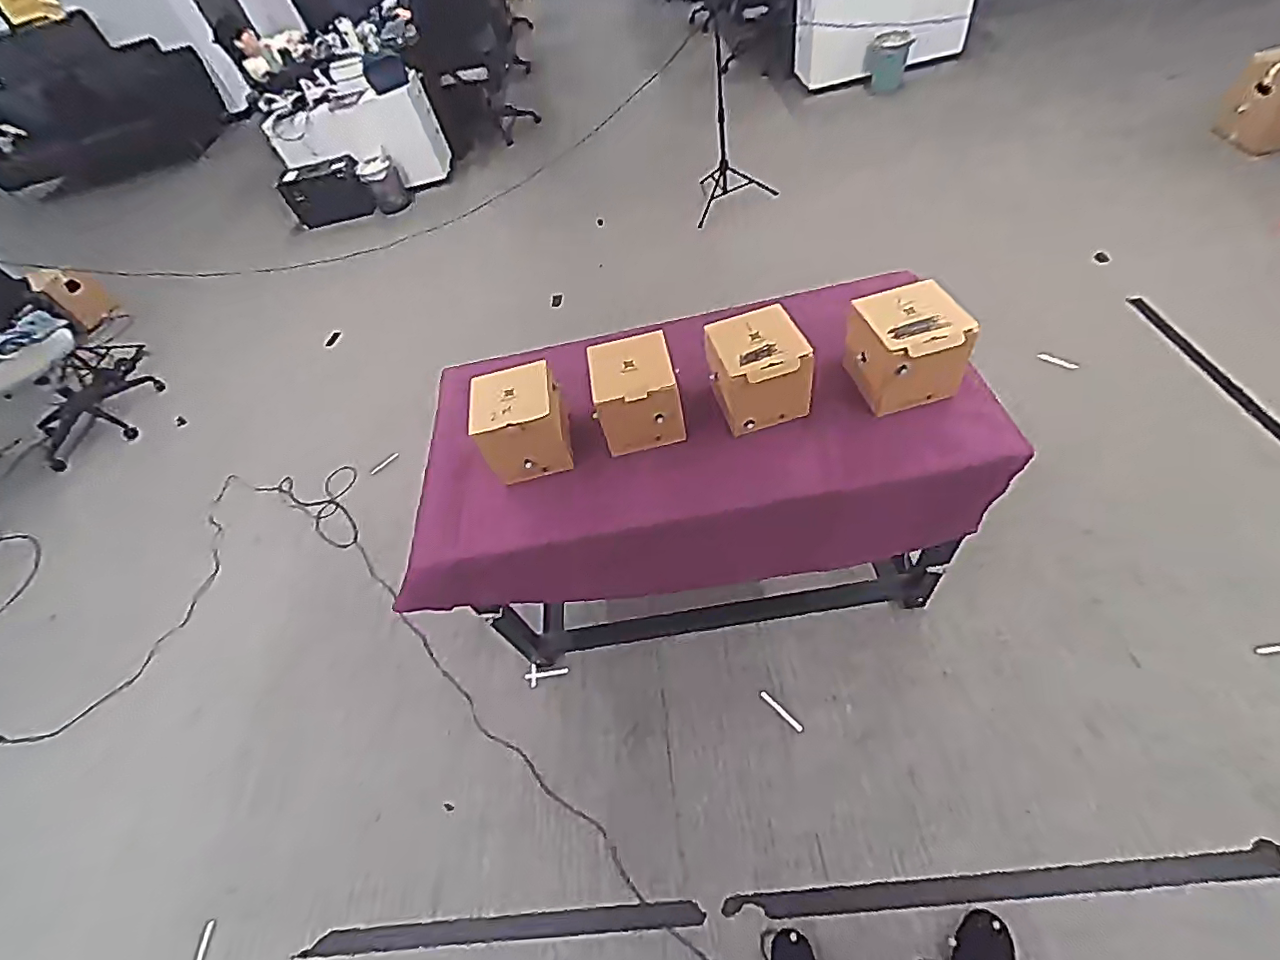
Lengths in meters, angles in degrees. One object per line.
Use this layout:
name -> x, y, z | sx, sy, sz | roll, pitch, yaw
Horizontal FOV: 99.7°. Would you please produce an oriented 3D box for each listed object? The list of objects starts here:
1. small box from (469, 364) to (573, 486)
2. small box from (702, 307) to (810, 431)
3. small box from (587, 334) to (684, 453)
small box -> -0.250, -0.115, 1.160 | 0.168, 0.176, 0.179 | -14, 52, 3
small box -> 0.240, -0.222, 1.125 | 0.168, 0.176, 0.179 | -17, 51, 0
small box -> -0.008, -0.176, 1.152 | 0.168, 0.176, 0.179 | -13, 52, 3
